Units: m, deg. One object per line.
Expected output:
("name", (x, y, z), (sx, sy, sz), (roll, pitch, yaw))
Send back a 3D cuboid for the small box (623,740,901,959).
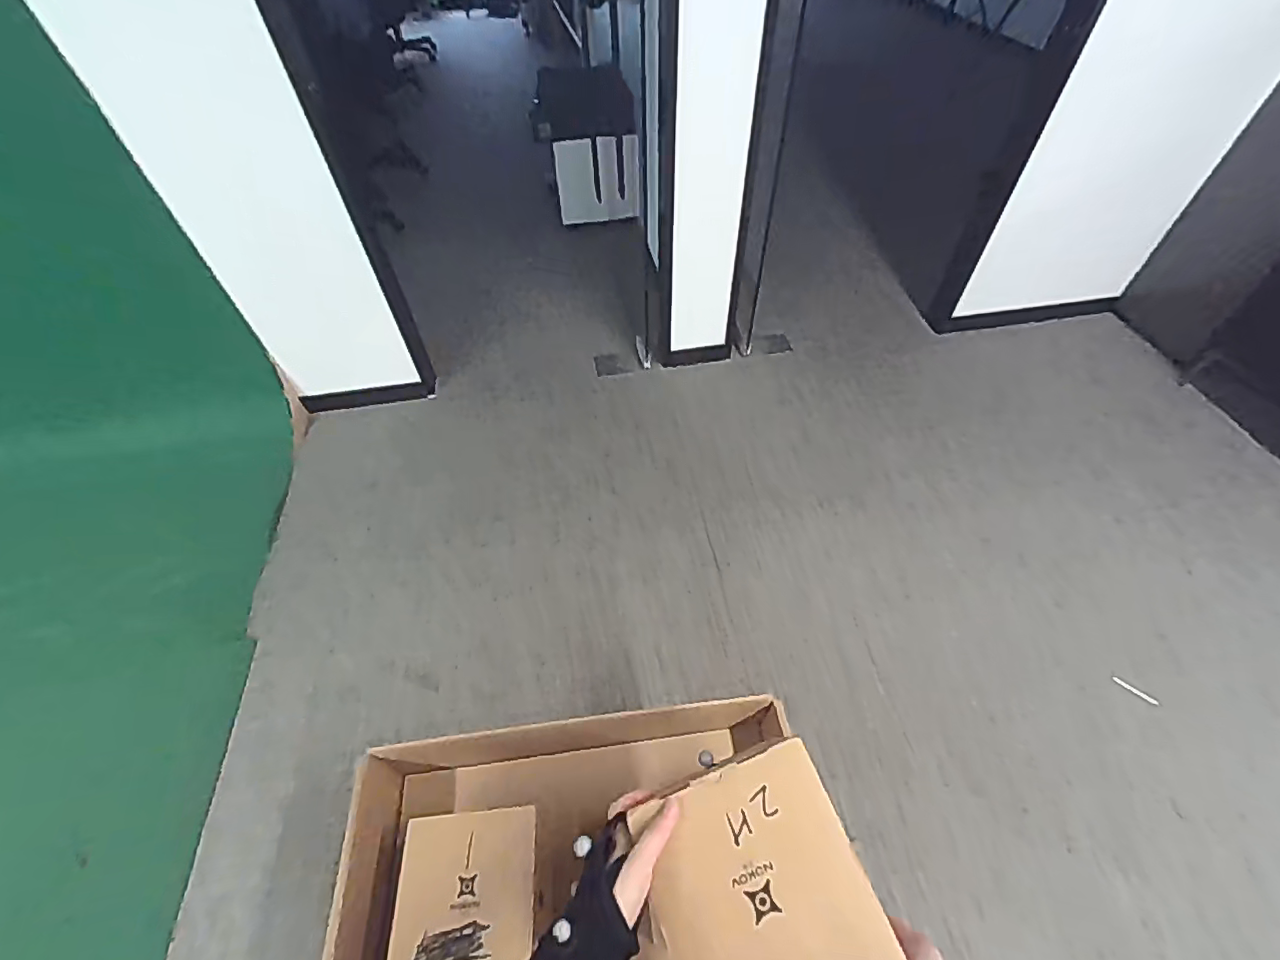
("small box", (0.099, 0.356, 0.493), (0.168, 0.176, 0.179), (-22, 64, -5))
